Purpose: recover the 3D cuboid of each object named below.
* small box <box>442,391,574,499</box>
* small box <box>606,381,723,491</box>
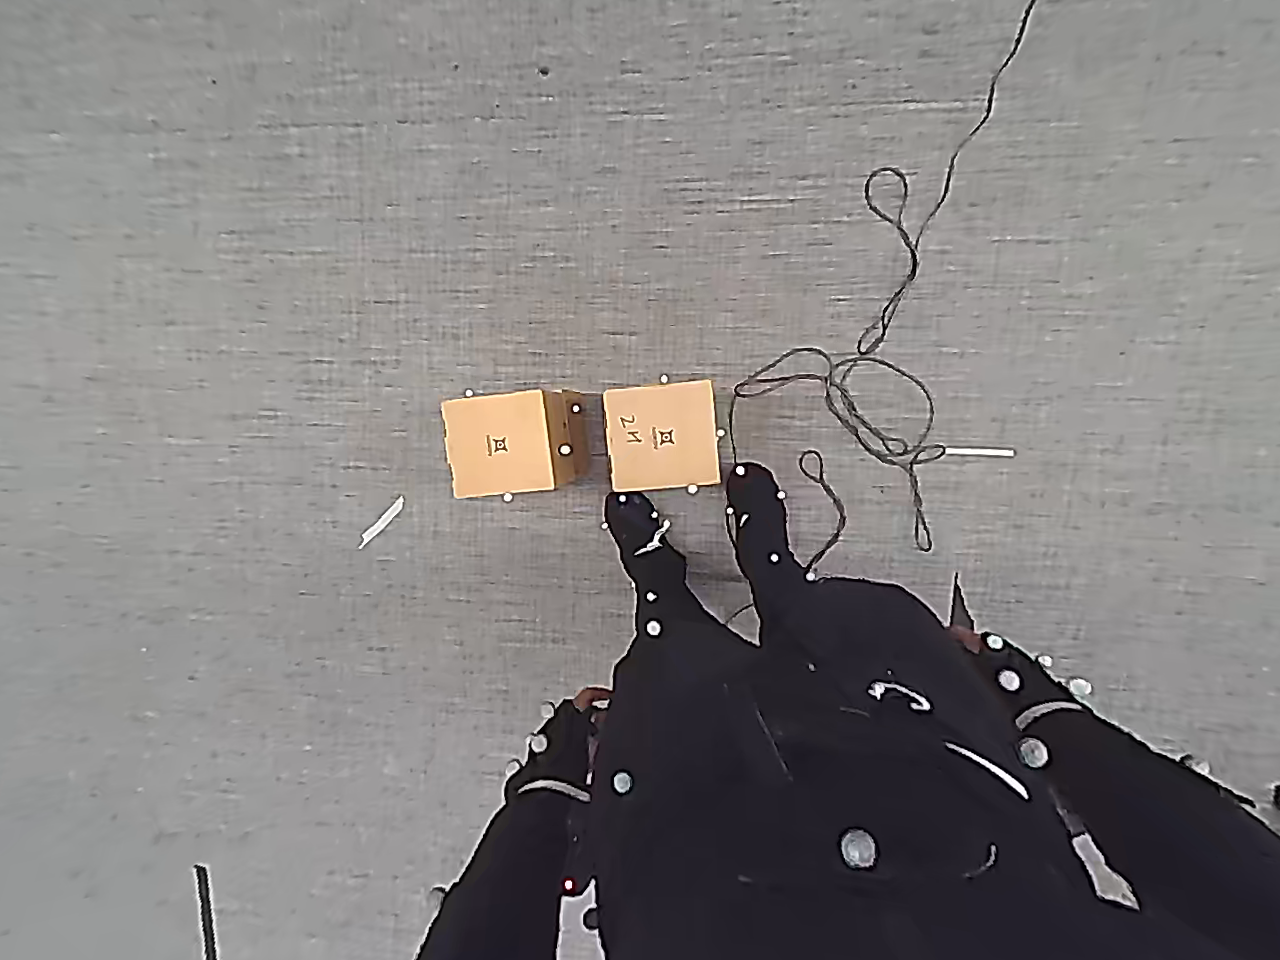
[{"bbox_3d":[-0.221,-0.066,0.958,0.179,0.176,0.168,-6,96,7],"label":"small box"},{"bbox_3d":[0.046,-0.078,0.925,0.179,0.176,0.168,-4,96,7],"label":"small box"}]
